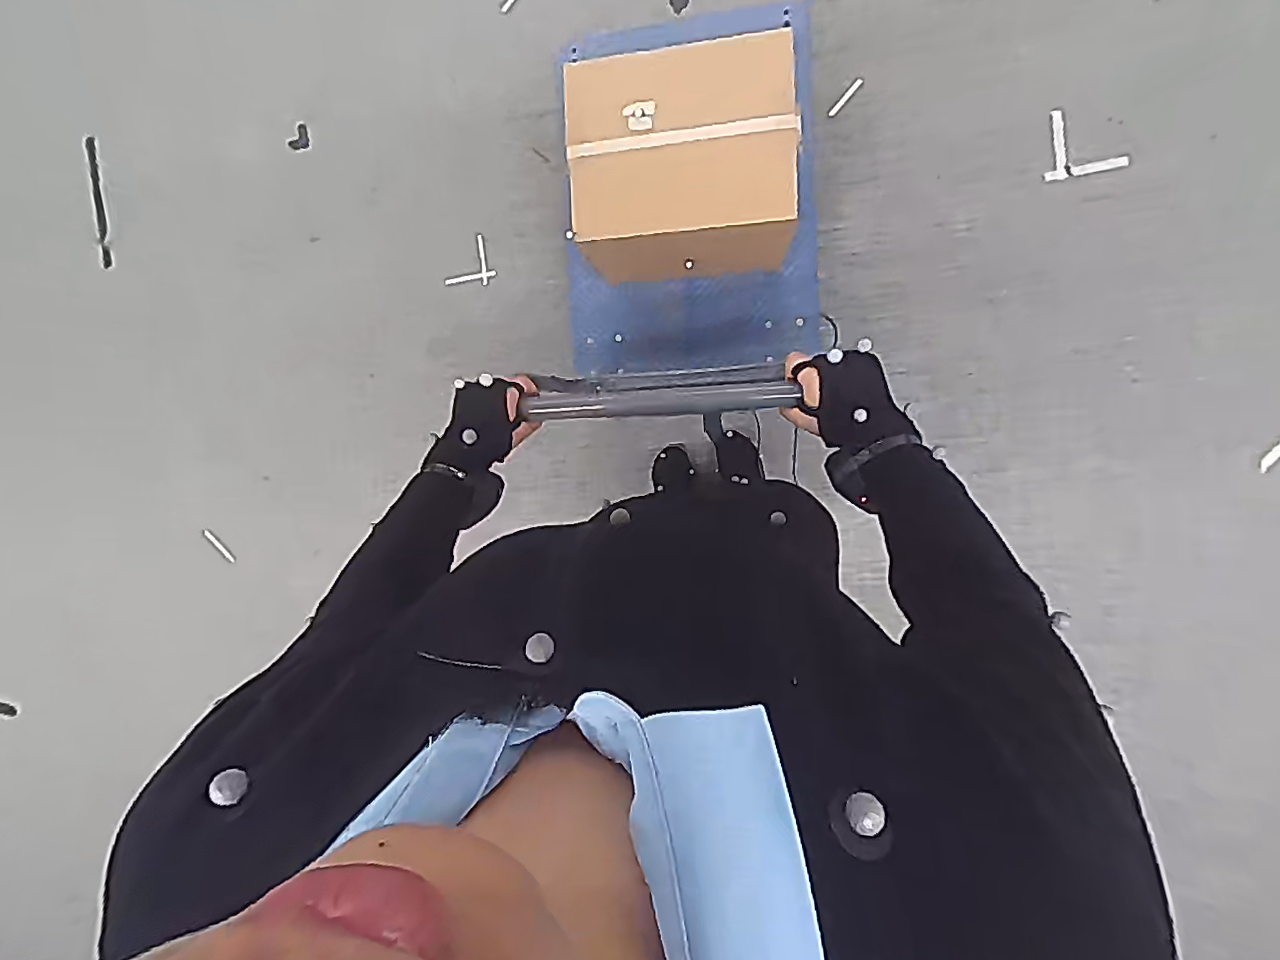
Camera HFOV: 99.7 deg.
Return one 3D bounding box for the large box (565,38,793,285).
[{"bbox_3d":[0.092,-0.616,1.123,0.408,0.320,0.320,-2,94,10],"label":"large box"}]
